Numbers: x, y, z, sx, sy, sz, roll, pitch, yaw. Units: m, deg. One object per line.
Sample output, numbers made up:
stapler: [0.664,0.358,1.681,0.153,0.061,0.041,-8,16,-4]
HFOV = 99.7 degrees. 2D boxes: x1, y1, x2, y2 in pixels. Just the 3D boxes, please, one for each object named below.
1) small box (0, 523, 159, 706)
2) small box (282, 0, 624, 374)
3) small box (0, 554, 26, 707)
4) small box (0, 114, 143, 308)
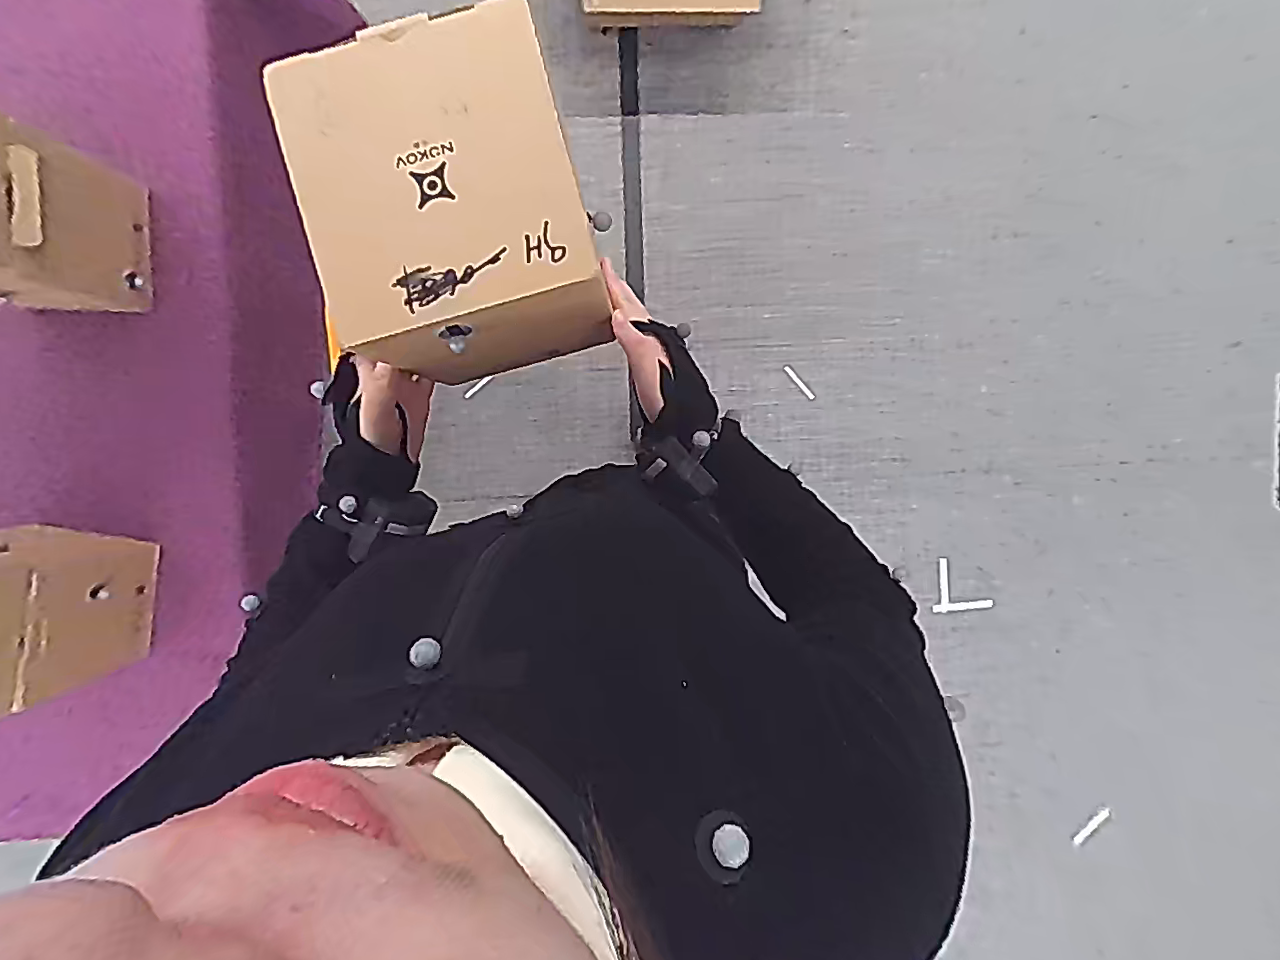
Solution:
small box: [-0.763,0.156,0.679,0.179,0.176,0.168,9,94,-2]
small box: [-0.113,-0.193,0.400,0.168,0.176,0.179,-14,91,3]
small box: [-0.760,0.162,0.515,0.168,0.176,0.179,10,93,-3]
small box: [-0.741,-0.307,0.640,0.179,0.176,0.168,1,95,0]
